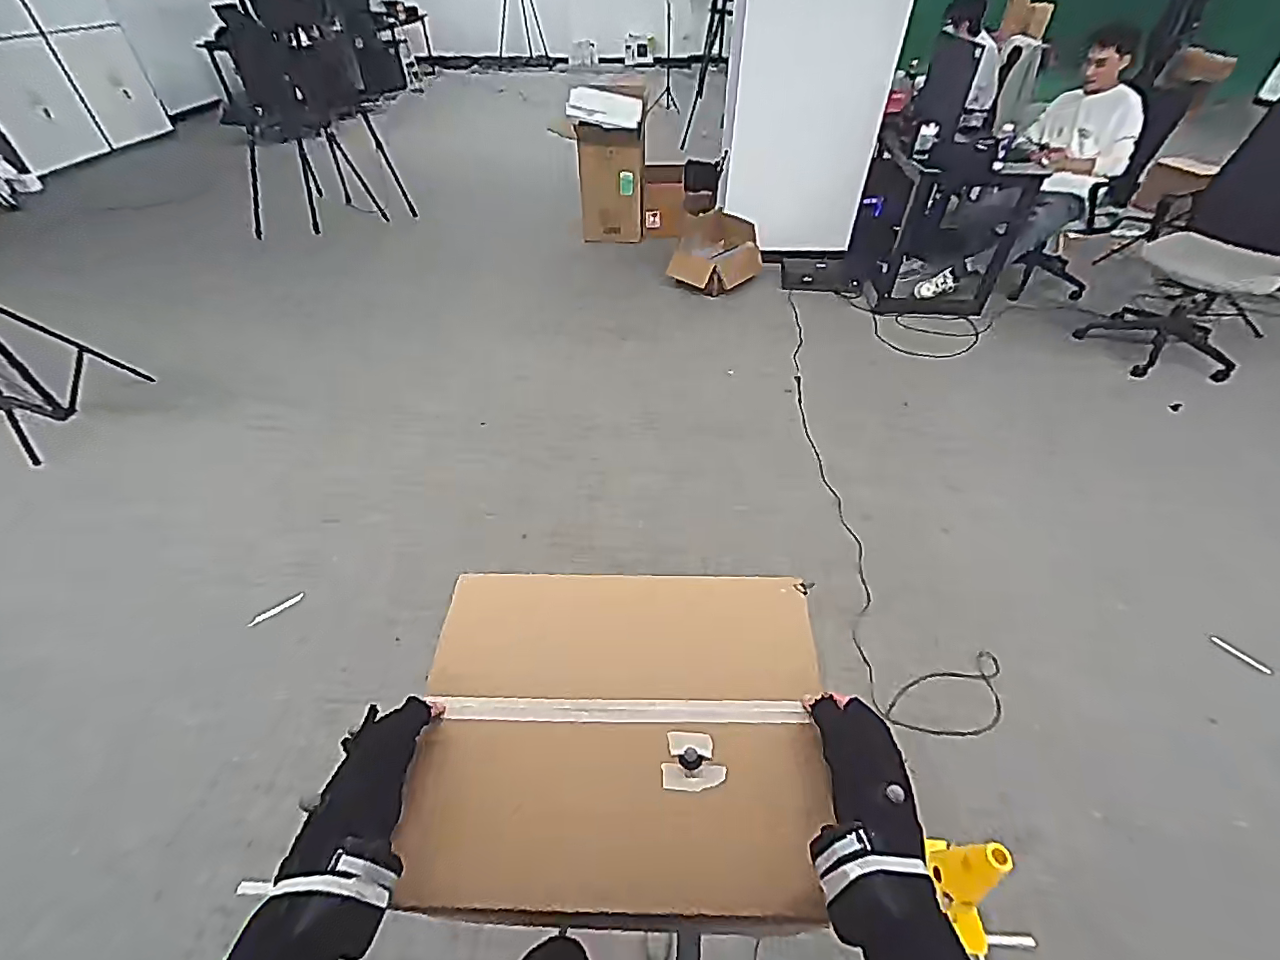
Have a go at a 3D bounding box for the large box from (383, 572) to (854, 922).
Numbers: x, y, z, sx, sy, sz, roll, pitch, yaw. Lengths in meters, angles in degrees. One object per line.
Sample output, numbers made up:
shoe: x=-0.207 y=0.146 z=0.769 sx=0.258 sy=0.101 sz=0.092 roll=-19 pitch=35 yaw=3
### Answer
large box: x=-0.017 y=0.326 z=0.656 sx=0.408 sy=0.320 sz=0.320 roll=1 pitch=48 yaw=2
